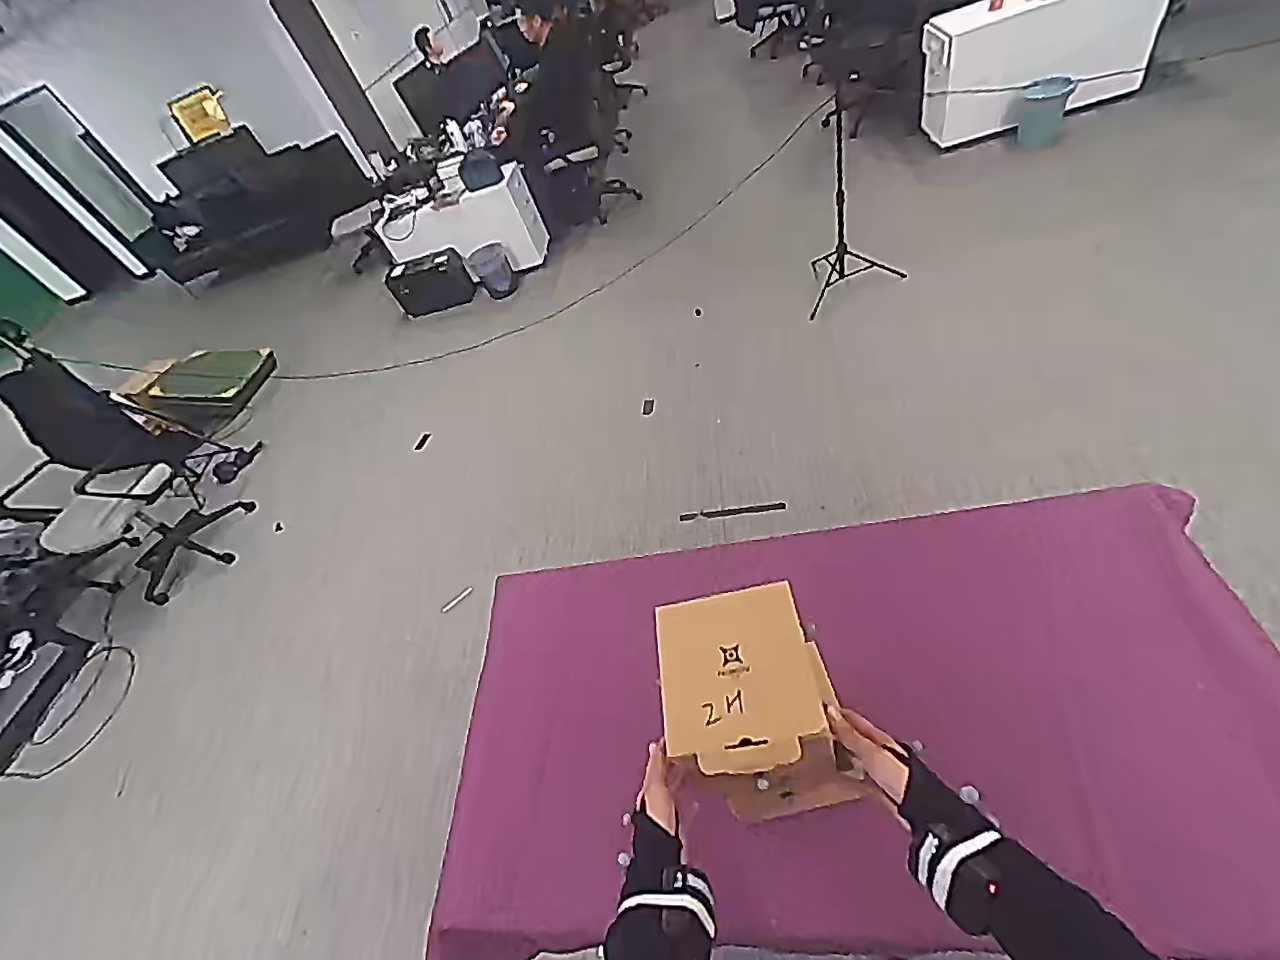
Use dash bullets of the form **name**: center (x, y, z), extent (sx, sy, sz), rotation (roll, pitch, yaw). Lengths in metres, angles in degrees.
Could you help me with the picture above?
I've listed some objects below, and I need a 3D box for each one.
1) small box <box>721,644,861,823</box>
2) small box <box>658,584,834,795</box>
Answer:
- **small box**: center (0.196, 0.361, 0.760), extent (0.179, 0.176, 0.168), rotation (-17, 46, 6)
- **small box**: center (0.126, 0.255, 0.652), extent (0.168, 0.176, 0.179), rotation (-14, 46, 11)
